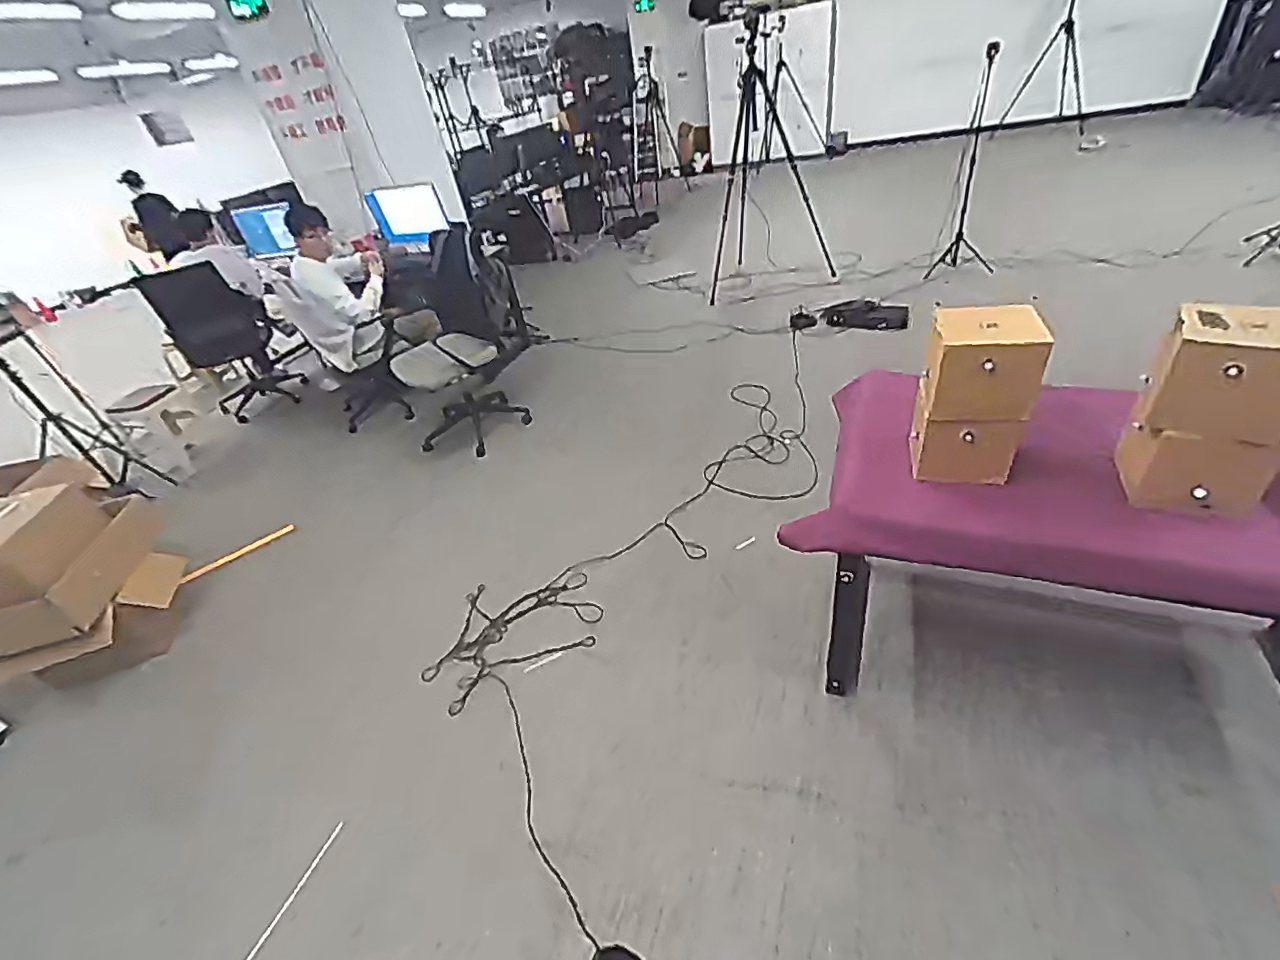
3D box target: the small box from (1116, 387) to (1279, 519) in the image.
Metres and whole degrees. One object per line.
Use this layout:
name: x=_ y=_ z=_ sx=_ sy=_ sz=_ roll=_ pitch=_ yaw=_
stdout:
small box: x=1.034 y=-0.055 z=1.013 sx=0.168 sy=0.176 sz=0.179 roll=8 pitch=41 yaw=25

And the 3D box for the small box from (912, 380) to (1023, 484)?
small box: x=0.696 y=-0.106 z=1.173 sx=0.179 sy=0.176 sz=0.168 roll=4 pitch=40 yaw=20

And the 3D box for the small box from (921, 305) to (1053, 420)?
small box: x=0.673 y=-0.229 z=1.071 sx=0.179 sy=0.176 sz=0.168 roll=2 pitch=40 yaw=19

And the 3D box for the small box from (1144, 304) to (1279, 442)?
small box: x=0.997 y=-0.183 z=0.917 sx=0.179 sy=0.176 sz=0.168 roll=17 pitch=45 yaw=32
